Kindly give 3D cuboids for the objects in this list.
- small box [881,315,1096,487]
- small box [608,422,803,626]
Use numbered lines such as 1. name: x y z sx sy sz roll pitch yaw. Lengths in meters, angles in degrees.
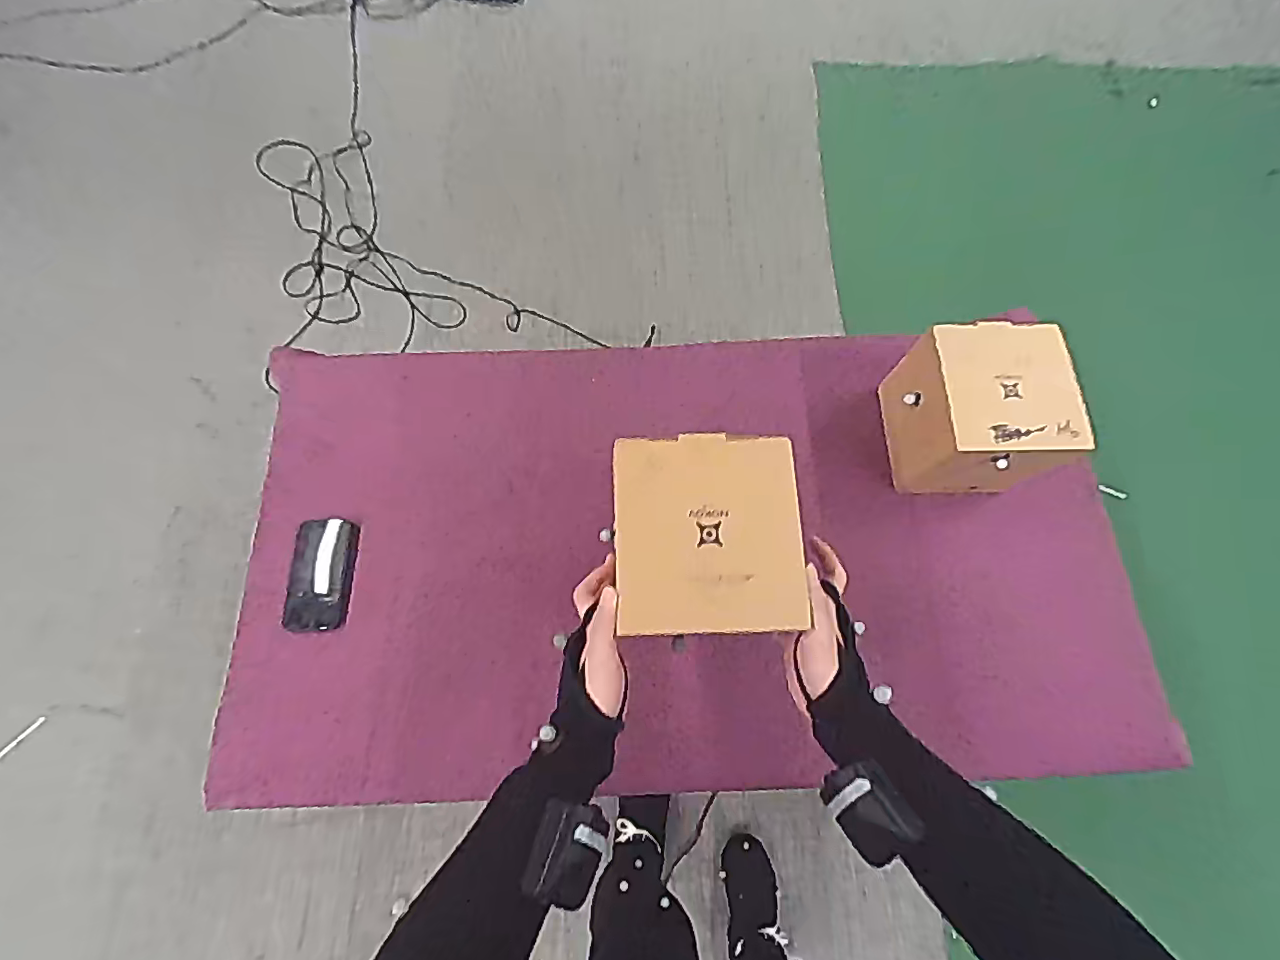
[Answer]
1. small box: 0.446 -0.100 0.728 0.168 0.176 0.179 -1 71 1
2. small box: 0.051 0.054 0.546 0.168 0.176 0.179 -1 74 -2
